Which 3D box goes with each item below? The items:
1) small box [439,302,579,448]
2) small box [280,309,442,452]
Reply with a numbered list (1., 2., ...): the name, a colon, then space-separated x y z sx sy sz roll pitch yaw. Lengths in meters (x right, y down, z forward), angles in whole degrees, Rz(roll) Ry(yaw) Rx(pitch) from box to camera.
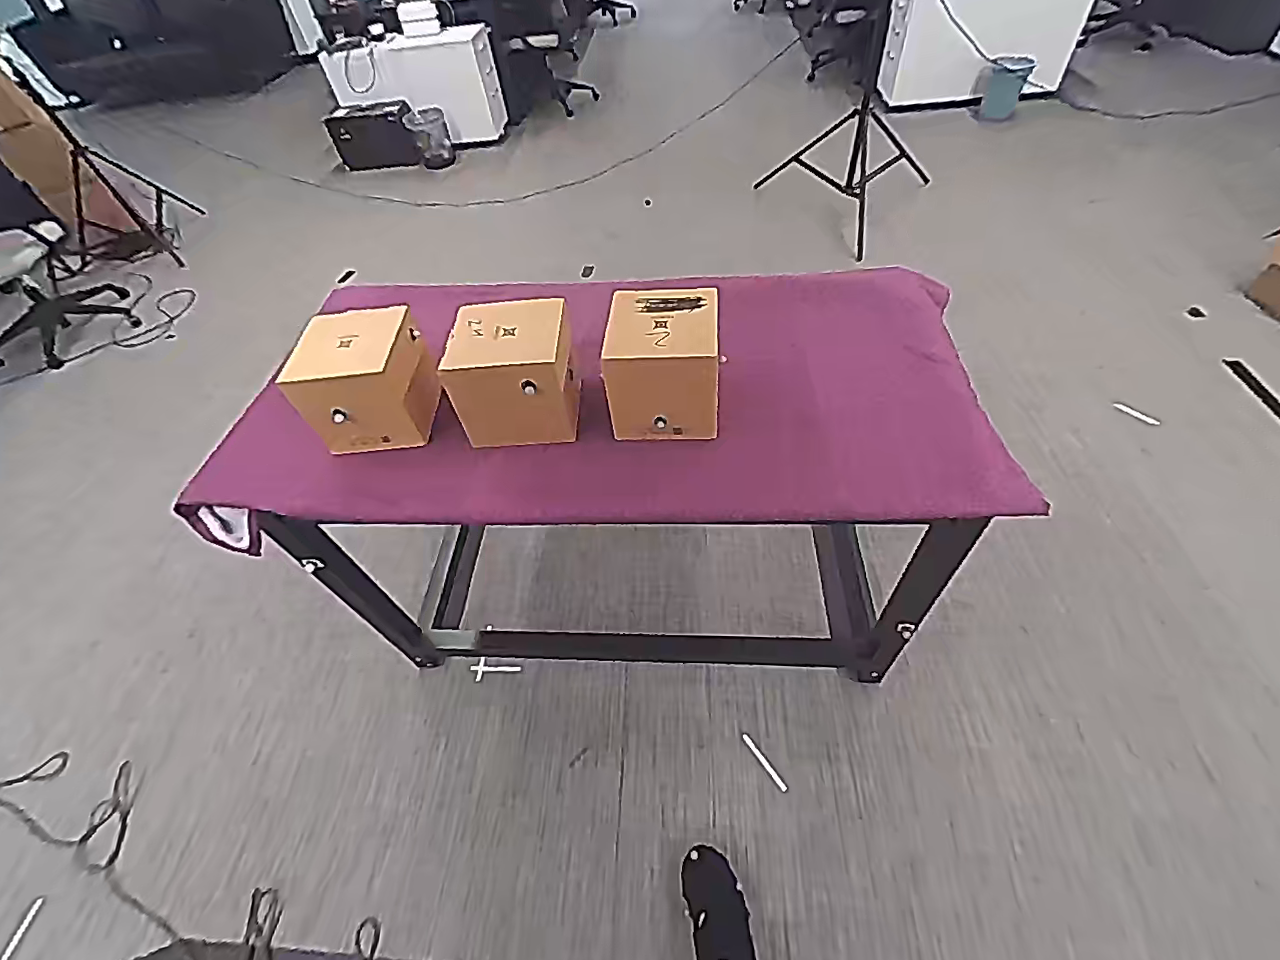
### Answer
1. small box: -0.200 -0.169 0.889 0.179 0.176 0.168 -4 49 3
2. small box: -0.454 -0.161 0.917 0.168 0.176 0.179 -6 50 2
